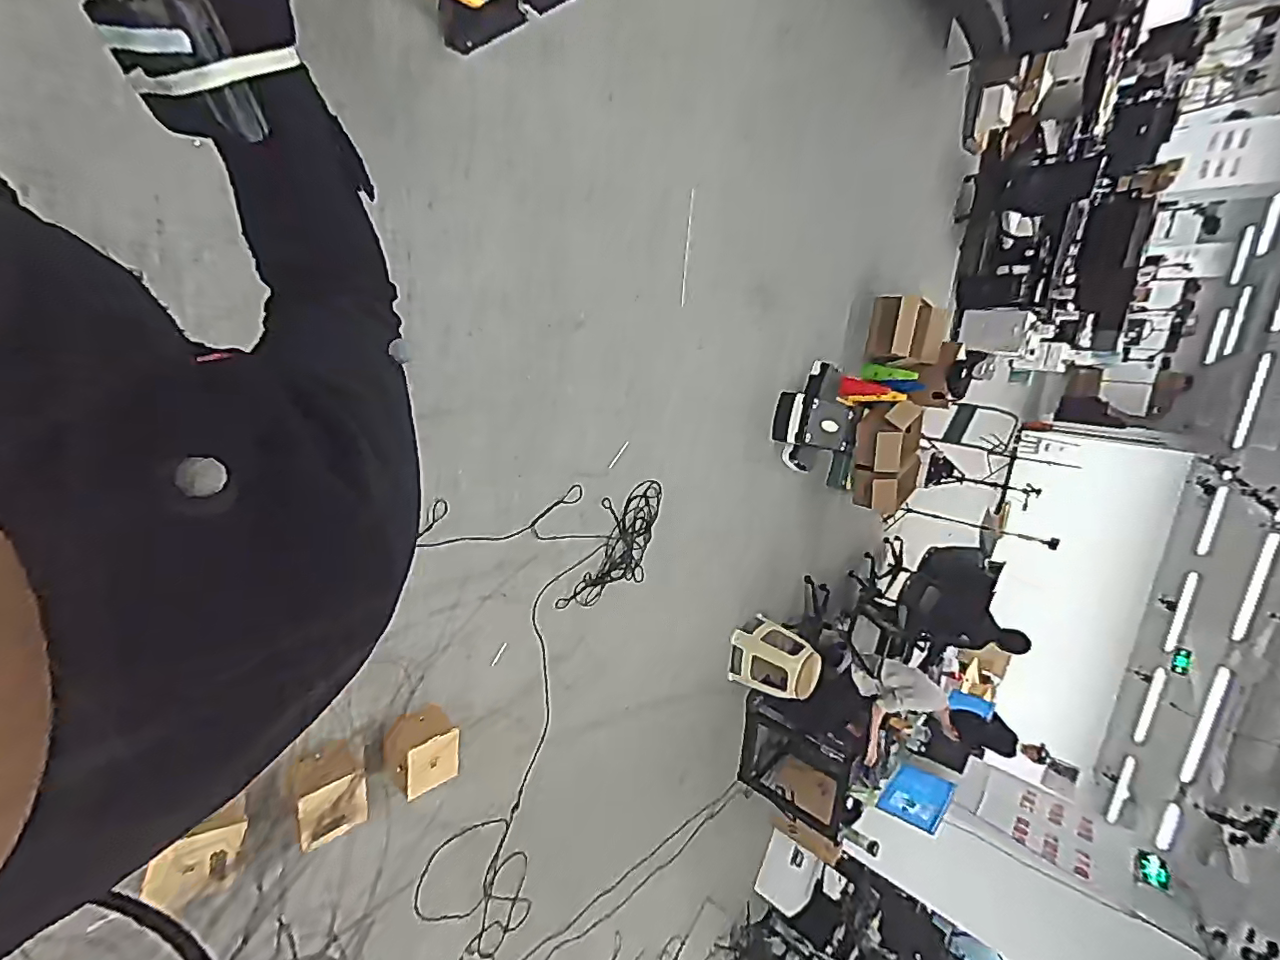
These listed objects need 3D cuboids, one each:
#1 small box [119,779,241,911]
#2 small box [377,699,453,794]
[{"bbox_3d":[-1.080,0.840,1.269,0.179,0.176,0.168,13,92,-50],"label":"small box"},{"bbox_3d":[-0.712,0.831,1.705,0.168,0.176,0.179,-9,108,-48],"label":"small box"}]
